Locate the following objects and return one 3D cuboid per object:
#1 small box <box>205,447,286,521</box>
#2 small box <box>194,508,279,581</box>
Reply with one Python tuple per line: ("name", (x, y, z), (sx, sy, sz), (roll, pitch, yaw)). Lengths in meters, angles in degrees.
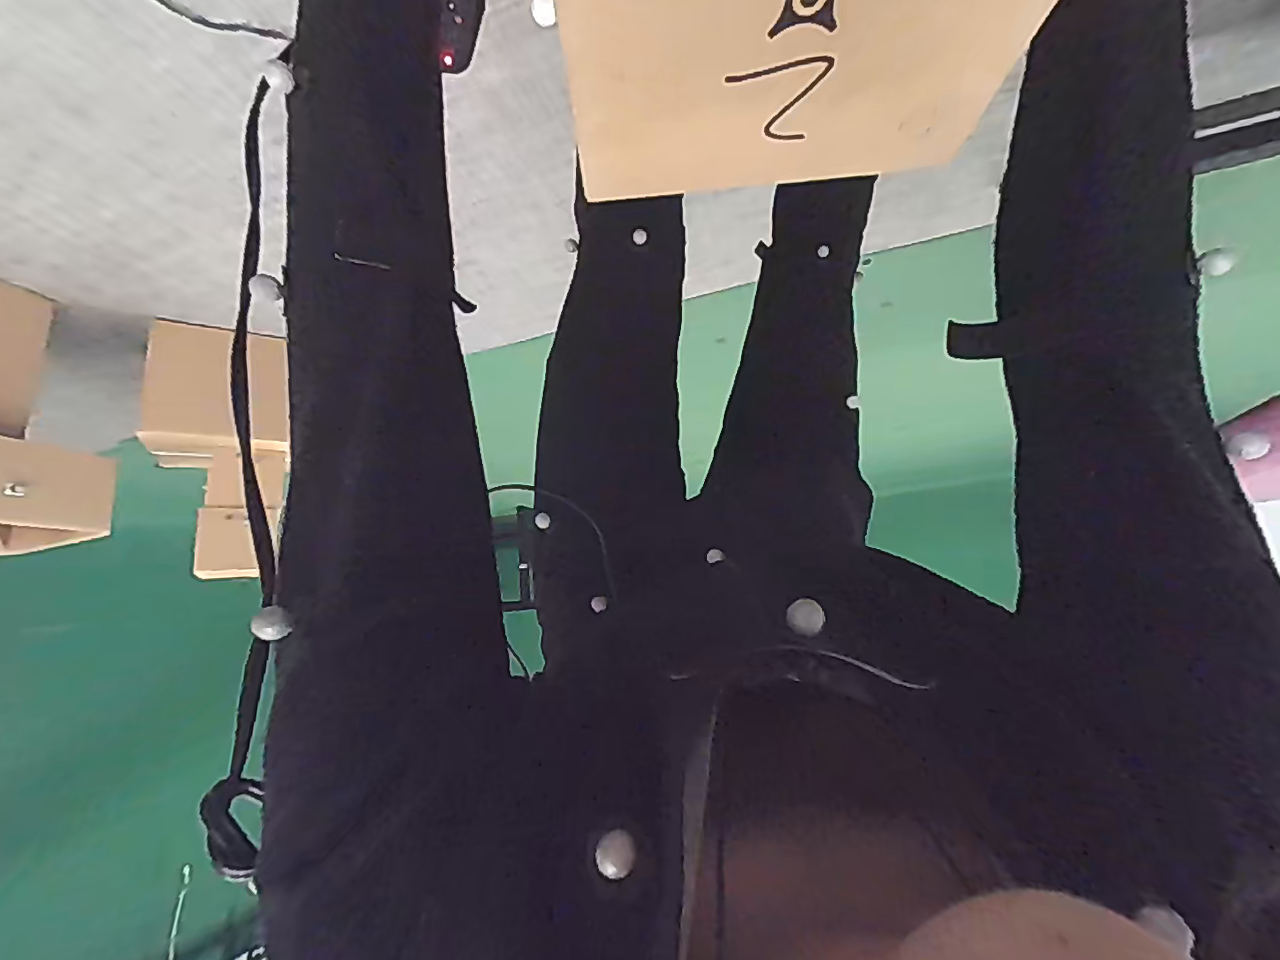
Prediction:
("small box", (-1.084, 0.020, 1.492), (0.168, 0.176, 0.179), (5, 162, -35))
("small box", (-1.071, 0.175, 1.444), (0.168, 0.176, 0.179), (3, 163, -33))
